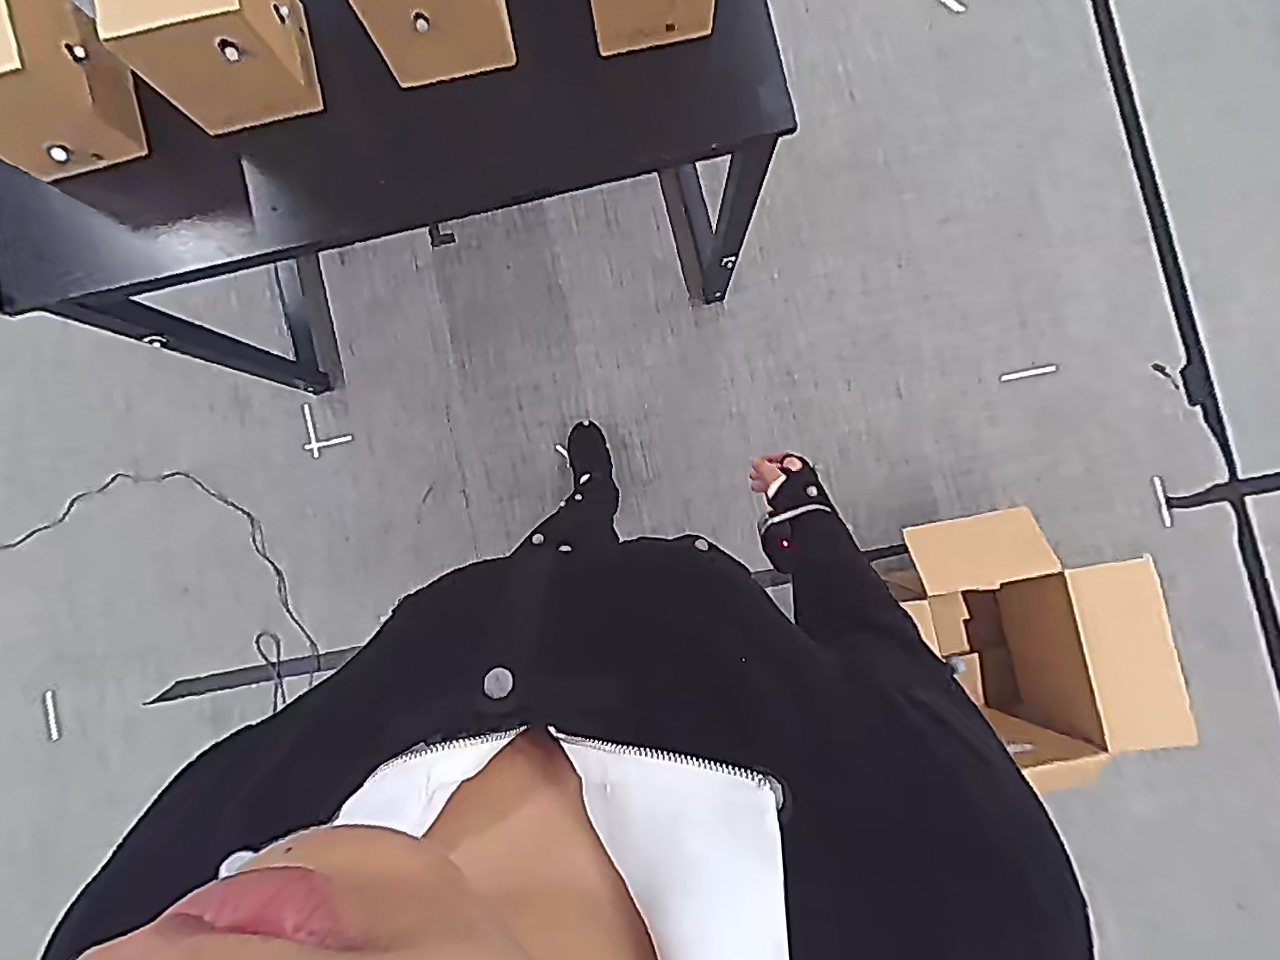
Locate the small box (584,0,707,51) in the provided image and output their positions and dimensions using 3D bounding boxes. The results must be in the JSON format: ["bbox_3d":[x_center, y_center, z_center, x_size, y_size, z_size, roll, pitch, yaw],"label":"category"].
[{"bbox_3d":[-0.001,-0.719,0.721,0.168,0.176,0.179,-10,86,0],"label":"small box"}]

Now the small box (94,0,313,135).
[{"bbox_3d":[-0.574,-0.609,0.728,0.179,0.176,0.168,-13,87,0],"label":"small box"}]

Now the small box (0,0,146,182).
[{"bbox_3d":[-0.834,-0.548,0.732,0.168,0.176,0.179,-15,89,1],"label":"small box"}]

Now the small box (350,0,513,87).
[{"bbox_3d":[-0.288,-0.674,0.726,0.179,0.176,0.168,-11,88,2],"label":"small box"}]
